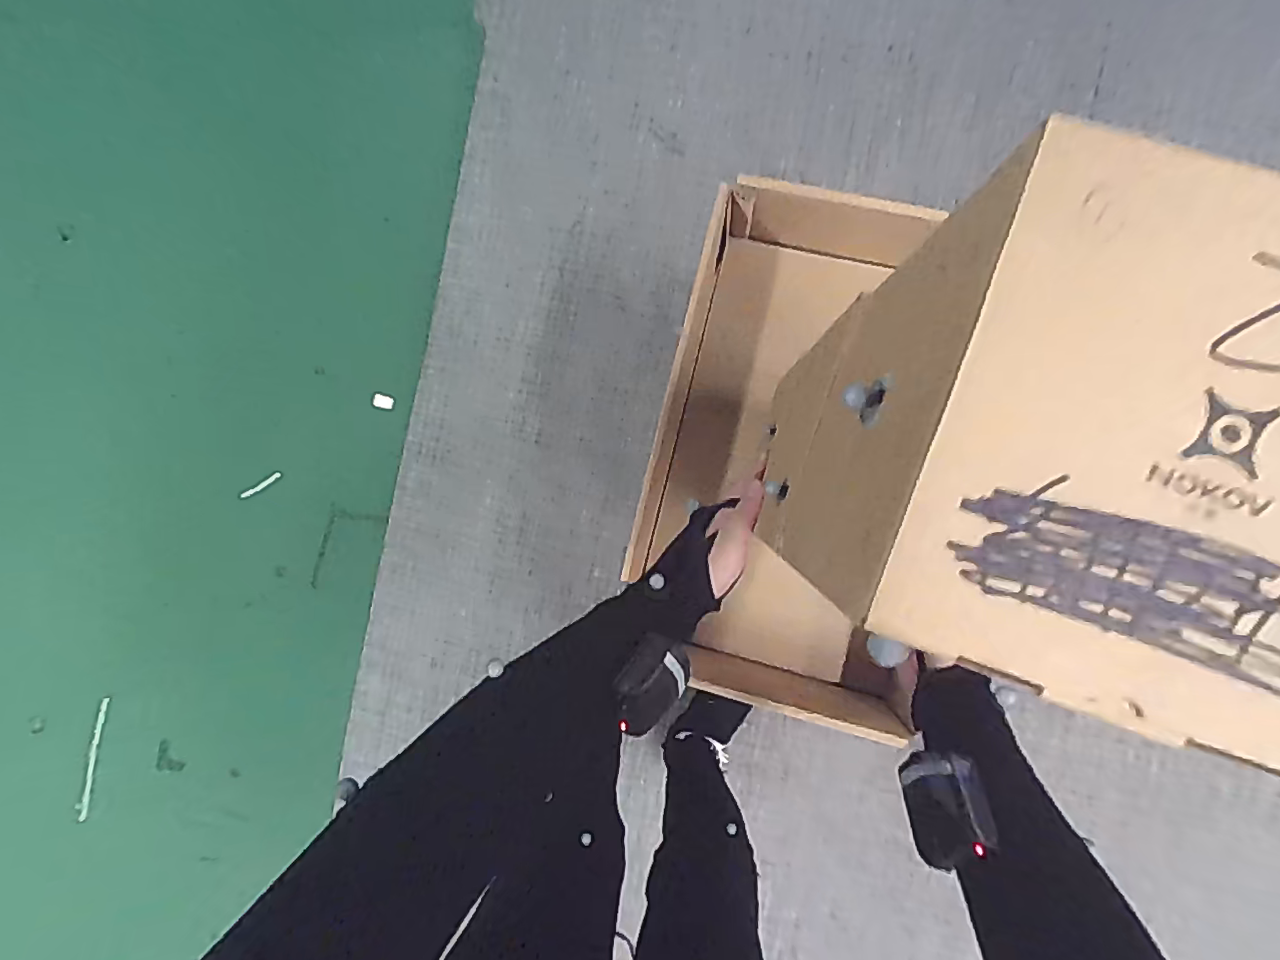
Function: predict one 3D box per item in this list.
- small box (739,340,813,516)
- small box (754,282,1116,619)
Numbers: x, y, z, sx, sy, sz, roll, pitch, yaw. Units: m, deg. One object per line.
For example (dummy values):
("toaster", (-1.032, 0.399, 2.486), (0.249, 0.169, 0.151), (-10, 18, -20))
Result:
("small box", (0.212, -0.025, 0.581), (0.168, 0.176, 0.179), (19, 92, 6))
("small box", (0.197, -0.021, 0.419), (0.168, 0.176, 0.179), (18, 93, 4))
